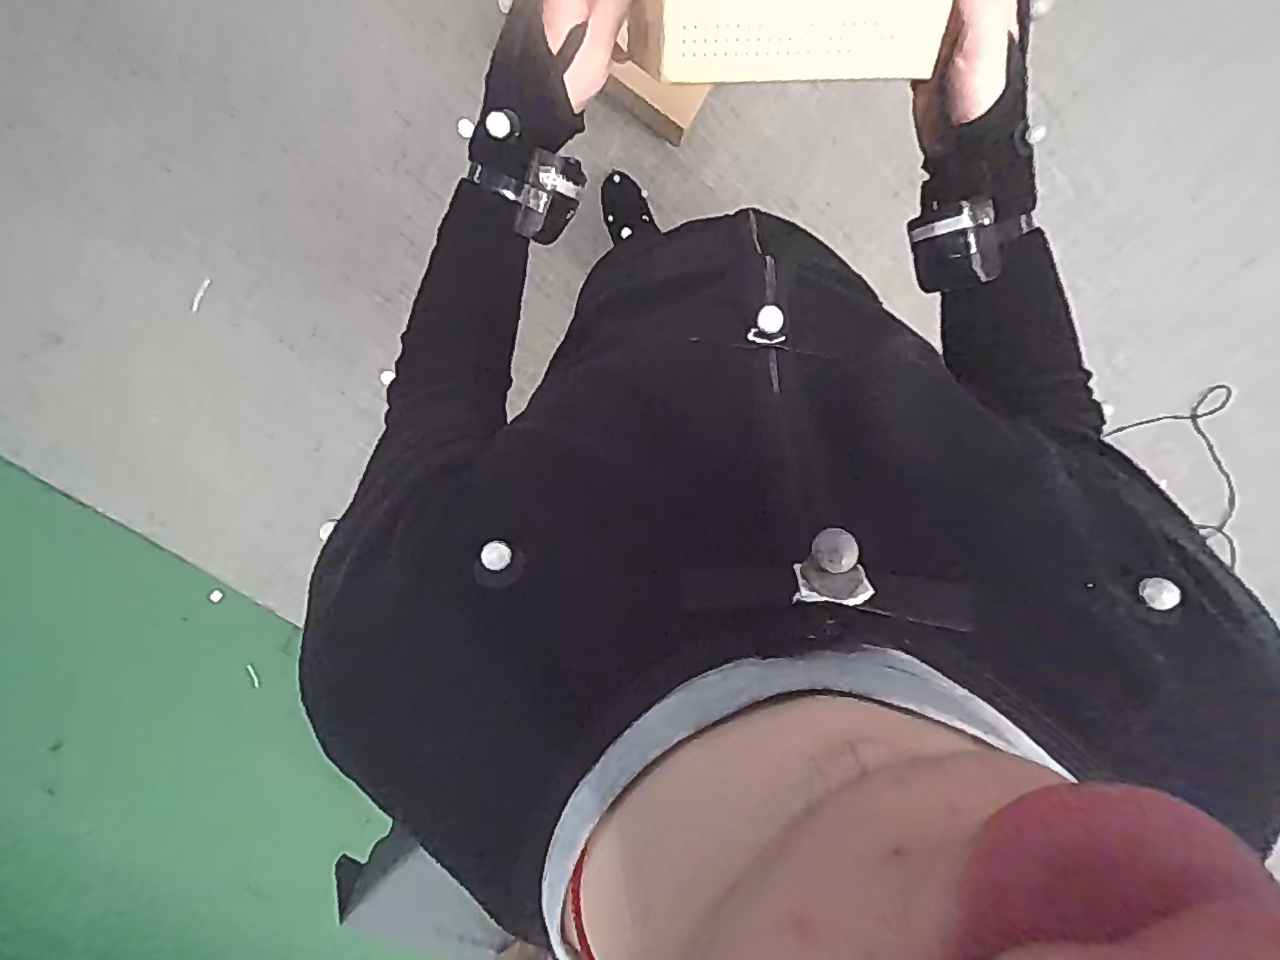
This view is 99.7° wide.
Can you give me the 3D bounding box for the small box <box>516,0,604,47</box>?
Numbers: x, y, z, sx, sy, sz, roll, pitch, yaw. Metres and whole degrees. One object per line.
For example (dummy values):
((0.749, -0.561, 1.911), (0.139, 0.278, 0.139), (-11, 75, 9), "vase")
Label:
((-0.132, -0.824, 0.831), (0.168, 0.176, 0.179), (33, 117, -12), "small box")
